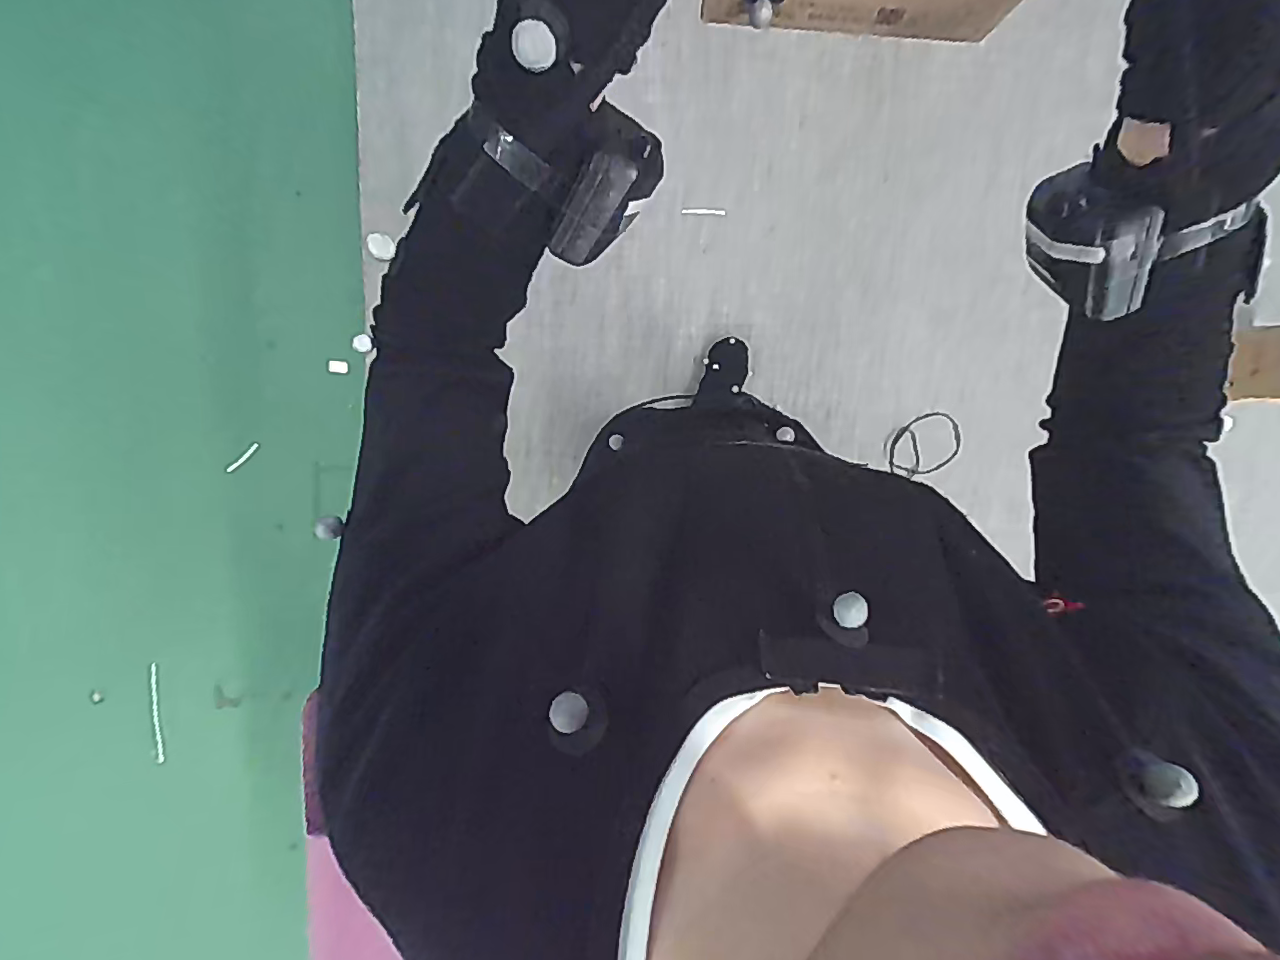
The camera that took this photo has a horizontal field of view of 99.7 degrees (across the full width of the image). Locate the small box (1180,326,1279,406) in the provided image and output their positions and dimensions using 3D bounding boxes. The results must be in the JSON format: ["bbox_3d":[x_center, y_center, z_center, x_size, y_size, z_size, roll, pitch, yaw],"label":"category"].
[{"bbox_3d":[1.497,-0.275,1.330,0.168,0.176,0.179,2,98,1],"label":"small box"}]

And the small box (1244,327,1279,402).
[{"bbox_3d":[1.494,-0.252,1.167,0.179,0.176,0.168,2,98,0],"label":"small box"}]

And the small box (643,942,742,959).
[{"bbox_3d":[0.077,0.821,0.768,0.168,0.176,0.179,7,97,-1],"label":"small box"}]

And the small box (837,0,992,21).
[{"bbox_3d":[0.122,-0.336,0.220,0.168,0.176,0.179,6,102,1],"label":"small box"}]
